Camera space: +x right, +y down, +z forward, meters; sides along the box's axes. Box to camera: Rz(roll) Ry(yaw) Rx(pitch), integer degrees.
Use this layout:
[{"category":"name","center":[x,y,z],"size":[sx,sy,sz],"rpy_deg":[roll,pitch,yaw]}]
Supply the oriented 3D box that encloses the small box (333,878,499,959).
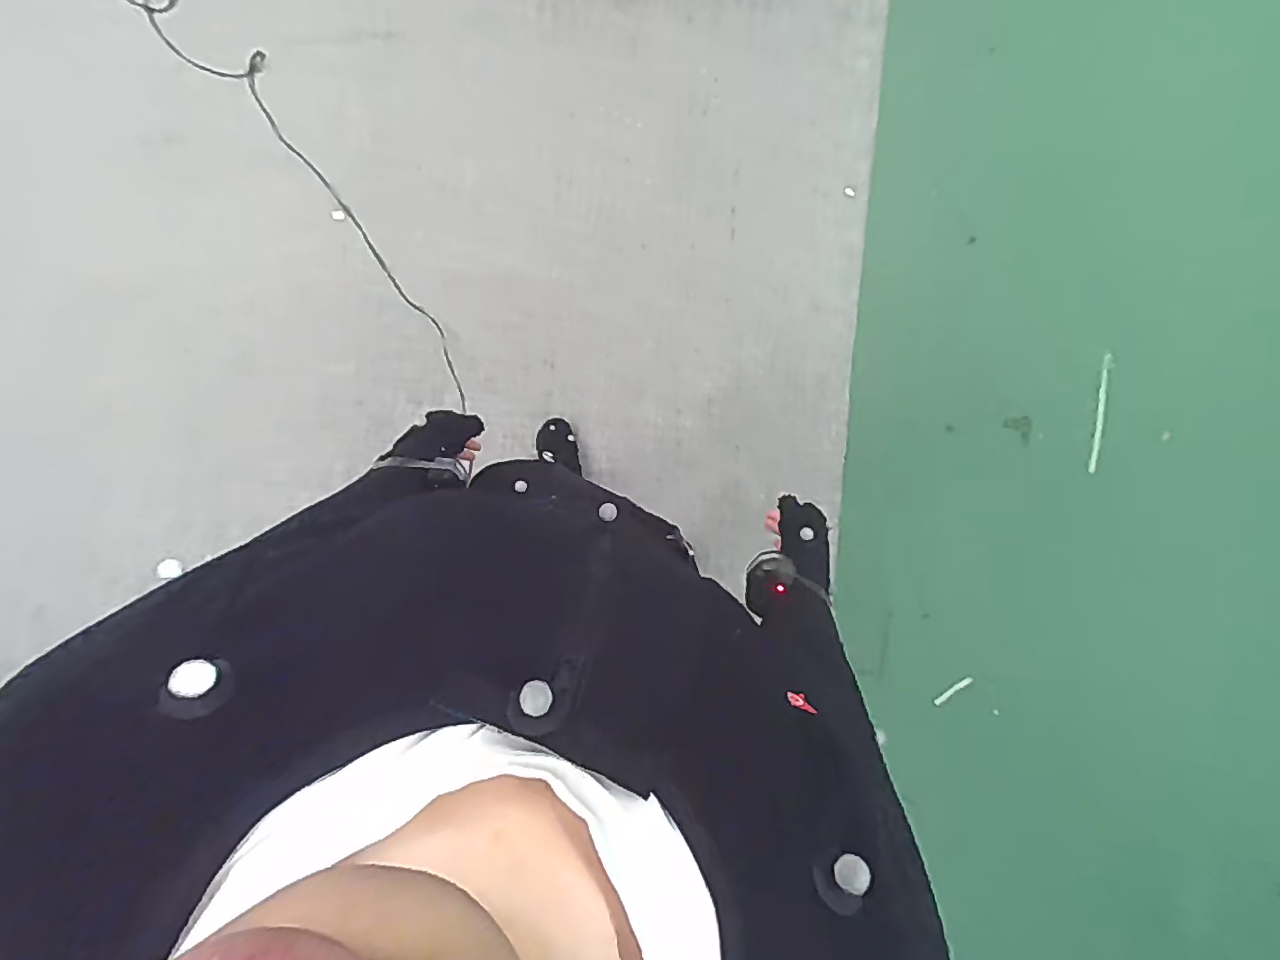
[{"category":"small box","center":[-0.313,0.705,0.767],"size":[0.179,0.176,0.168],"rpy_deg":[2,87,0]}]
